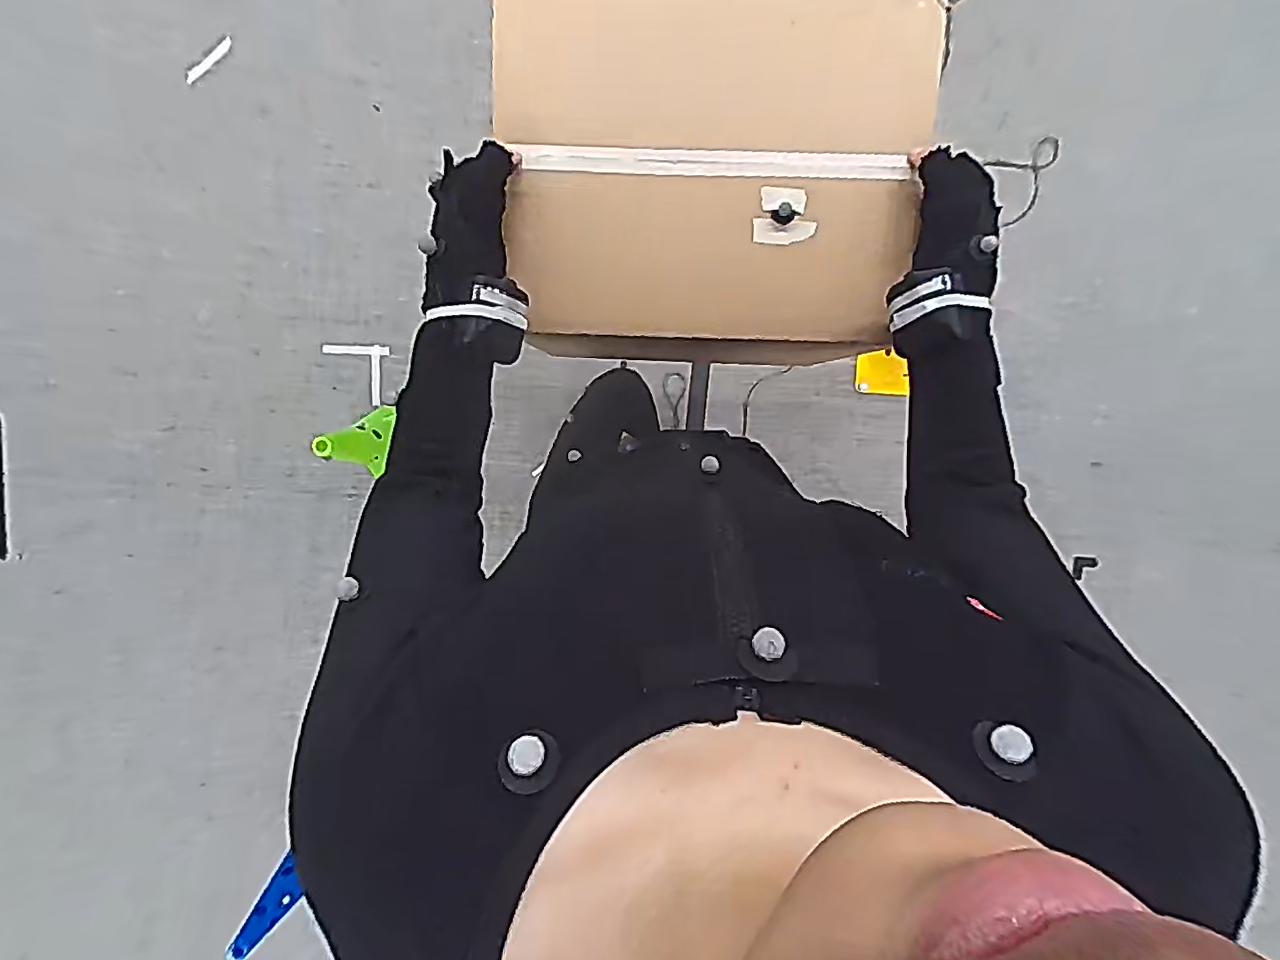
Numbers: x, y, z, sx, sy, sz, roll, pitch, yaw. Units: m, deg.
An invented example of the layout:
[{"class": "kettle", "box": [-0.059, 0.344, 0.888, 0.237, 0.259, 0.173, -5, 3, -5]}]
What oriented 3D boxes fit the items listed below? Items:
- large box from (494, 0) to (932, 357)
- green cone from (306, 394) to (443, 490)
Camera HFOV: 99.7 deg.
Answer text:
[{"class": "large box", "box": [0.061, -0.320, 0.652, 0.408, 0.320, 0.320, 1, 98, -1]}, {"class": "green cone", "box": [-0.653, -0.086, 1.271, 0.202, 0.368, 0.200, -33, 94, 3]}]
